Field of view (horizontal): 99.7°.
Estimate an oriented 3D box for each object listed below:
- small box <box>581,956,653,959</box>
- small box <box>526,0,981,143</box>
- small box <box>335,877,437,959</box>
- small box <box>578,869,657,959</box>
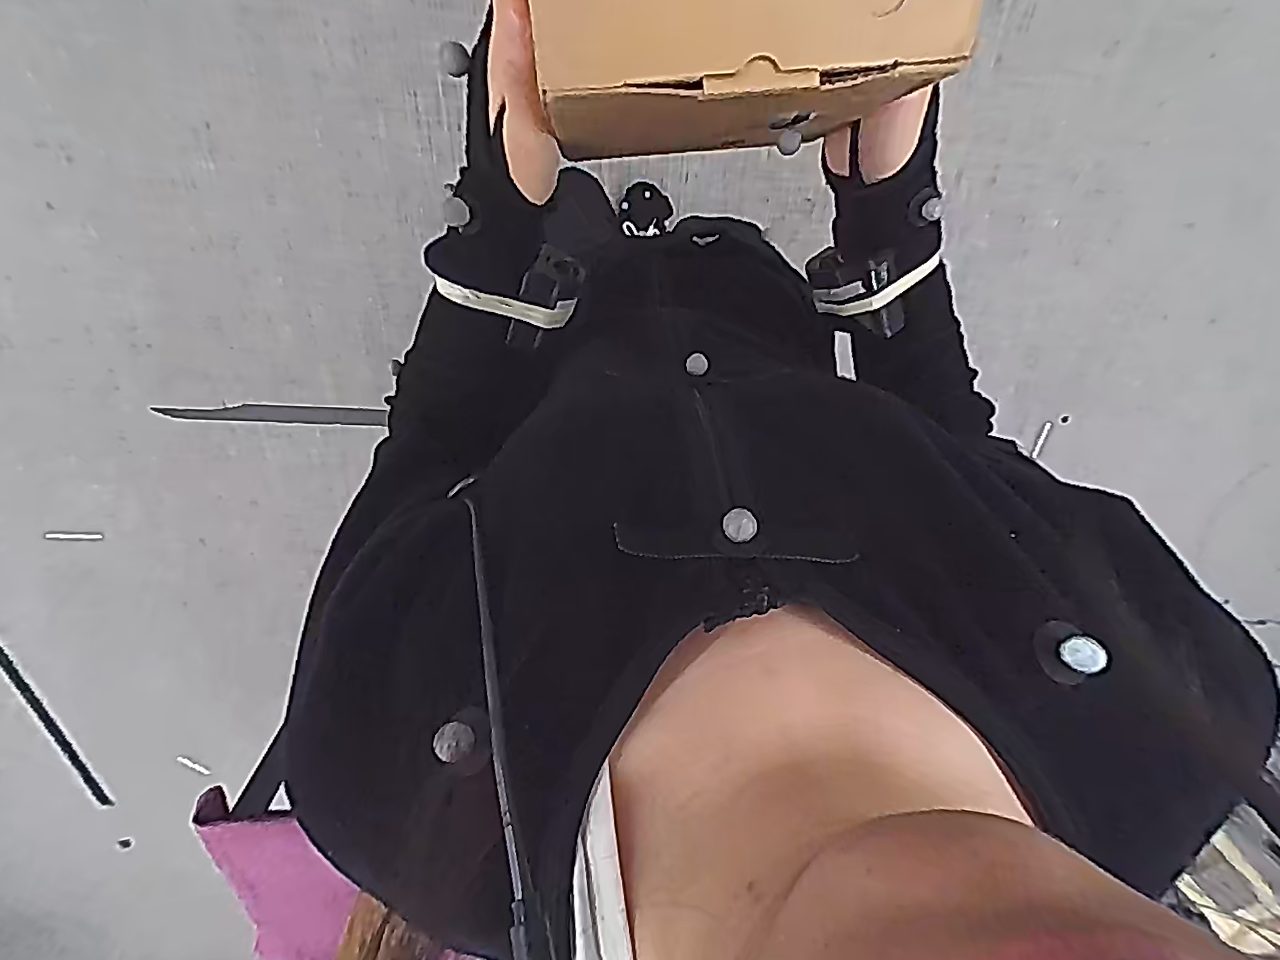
[{"bbox_3d":[-0.048,1.109,1.102,0.168,0.176,0.179,1,120,-5],"label":"small box"},{"bbox_3d":[0.031,-0.262,0.237,0.168,0.176,0.179,-7,113,-3],"label":"small box"},{"bbox_3d":[-0.559,1.028,1.210,0.168,0.176,0.179,6,118,-8],"label":"small box"},{"bbox_3d":[-0.057,1.024,1.242,0.168,0.176,0.179,2,119,-5],"label":"small box"}]
